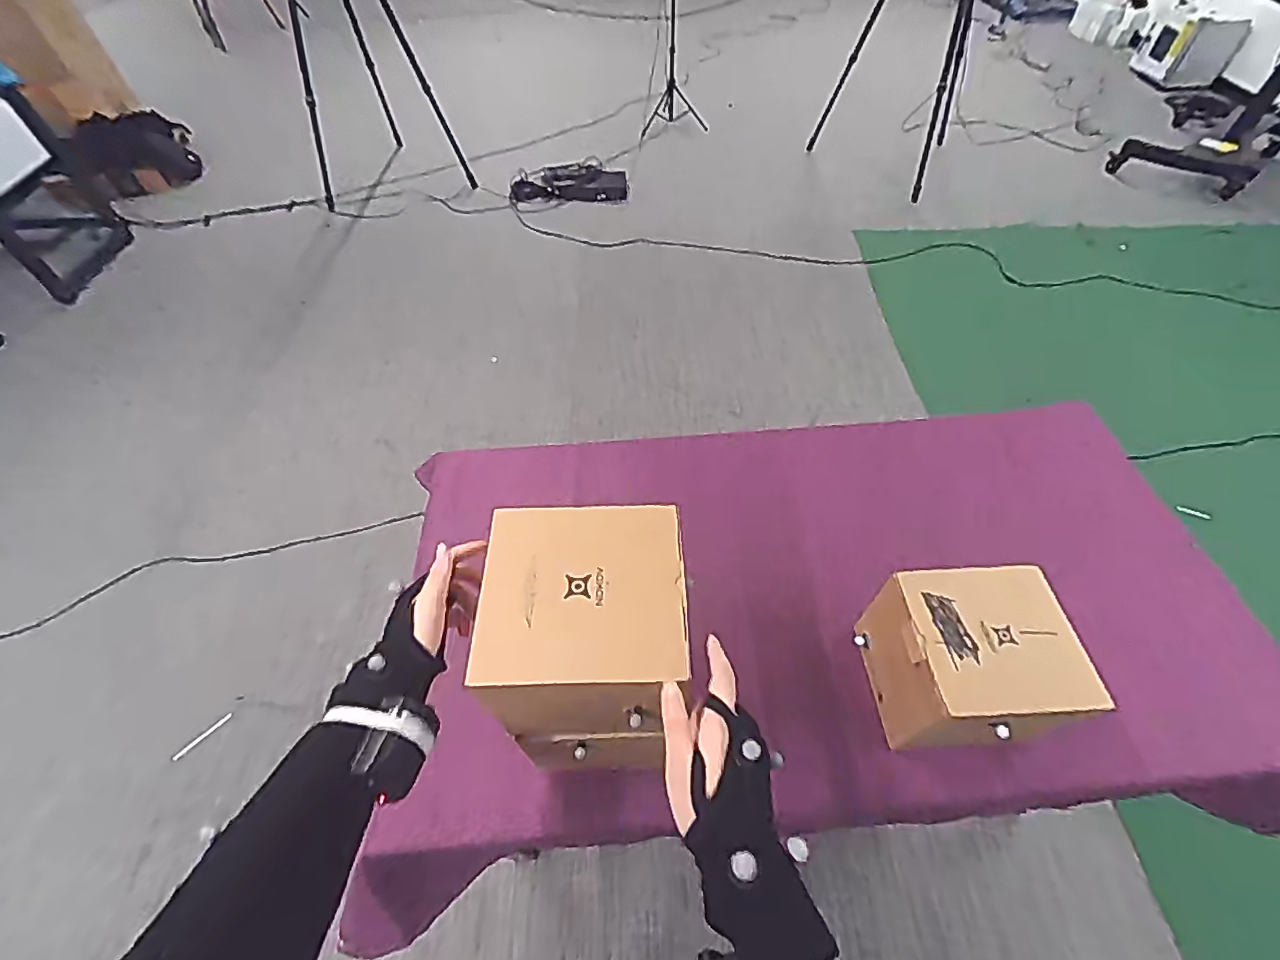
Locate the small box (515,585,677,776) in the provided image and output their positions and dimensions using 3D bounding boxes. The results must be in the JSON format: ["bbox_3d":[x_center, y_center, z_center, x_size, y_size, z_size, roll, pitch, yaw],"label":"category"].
[{"bbox_3d":[-0.045,0.245,0.656,0.168,0.176,0.179,-2,52,1],"label":"small box"}]

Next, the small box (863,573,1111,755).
[{"bbox_3d":[0.391,0.228,0.657,0.179,0.176,0.168,-2,52,-1],"label":"small box"}]
